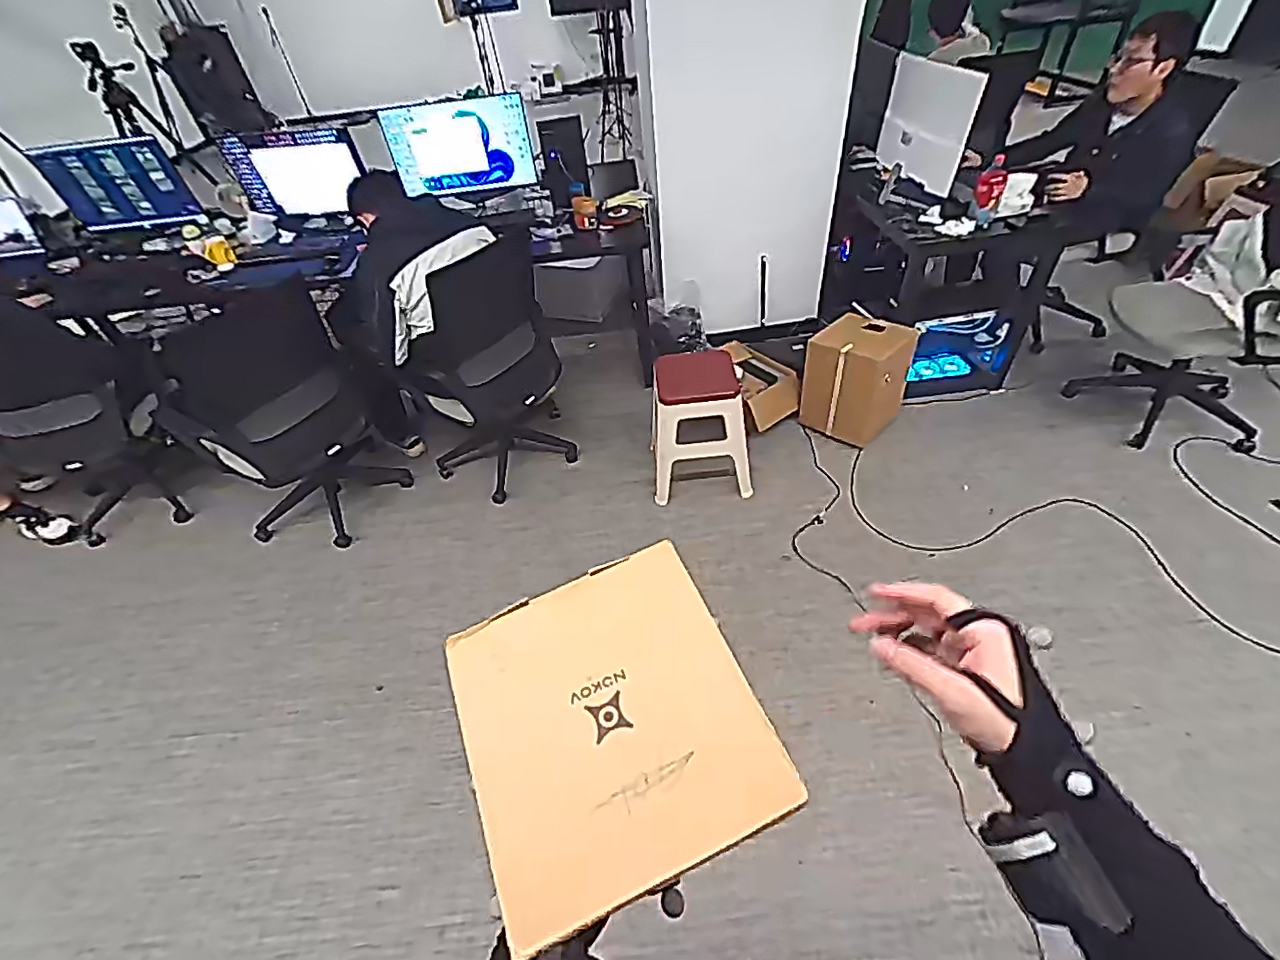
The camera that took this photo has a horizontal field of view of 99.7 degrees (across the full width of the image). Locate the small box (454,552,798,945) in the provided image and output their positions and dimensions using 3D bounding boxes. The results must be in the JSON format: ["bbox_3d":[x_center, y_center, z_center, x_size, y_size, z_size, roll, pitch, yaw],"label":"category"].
[{"bbox_3d":[-0.012,0.188,0.392,0.168,0.176,0.179,-23,55,-8],"label":"small box"}]
